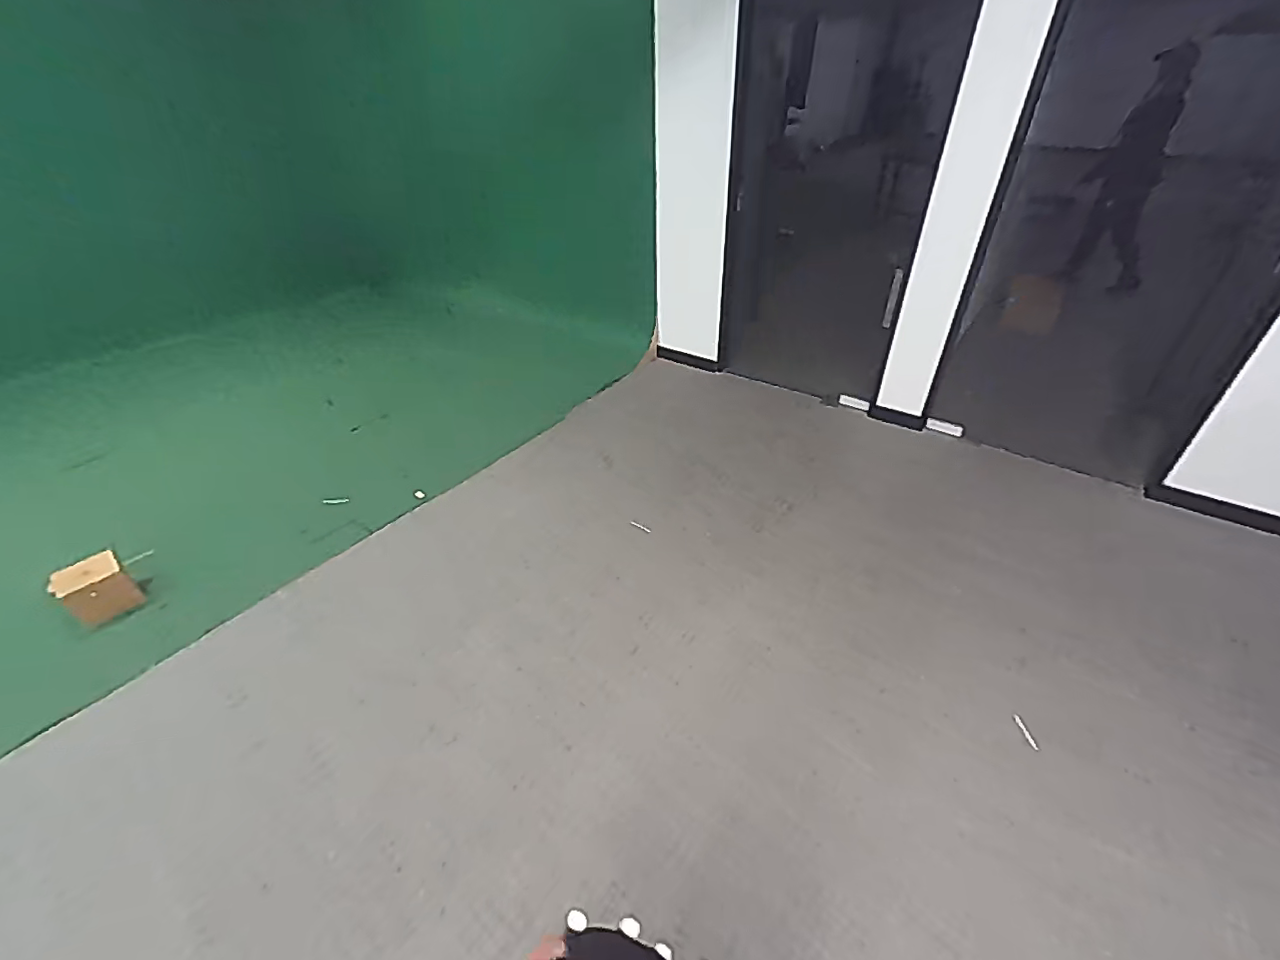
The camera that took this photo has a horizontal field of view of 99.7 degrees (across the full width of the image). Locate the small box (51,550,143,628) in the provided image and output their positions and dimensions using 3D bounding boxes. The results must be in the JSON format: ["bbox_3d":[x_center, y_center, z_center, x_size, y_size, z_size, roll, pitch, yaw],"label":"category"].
[{"bbox_3d":[-1.937,0.390,1.938,0.168,0.176,0.179,28,46,32],"label":"small box"}]
